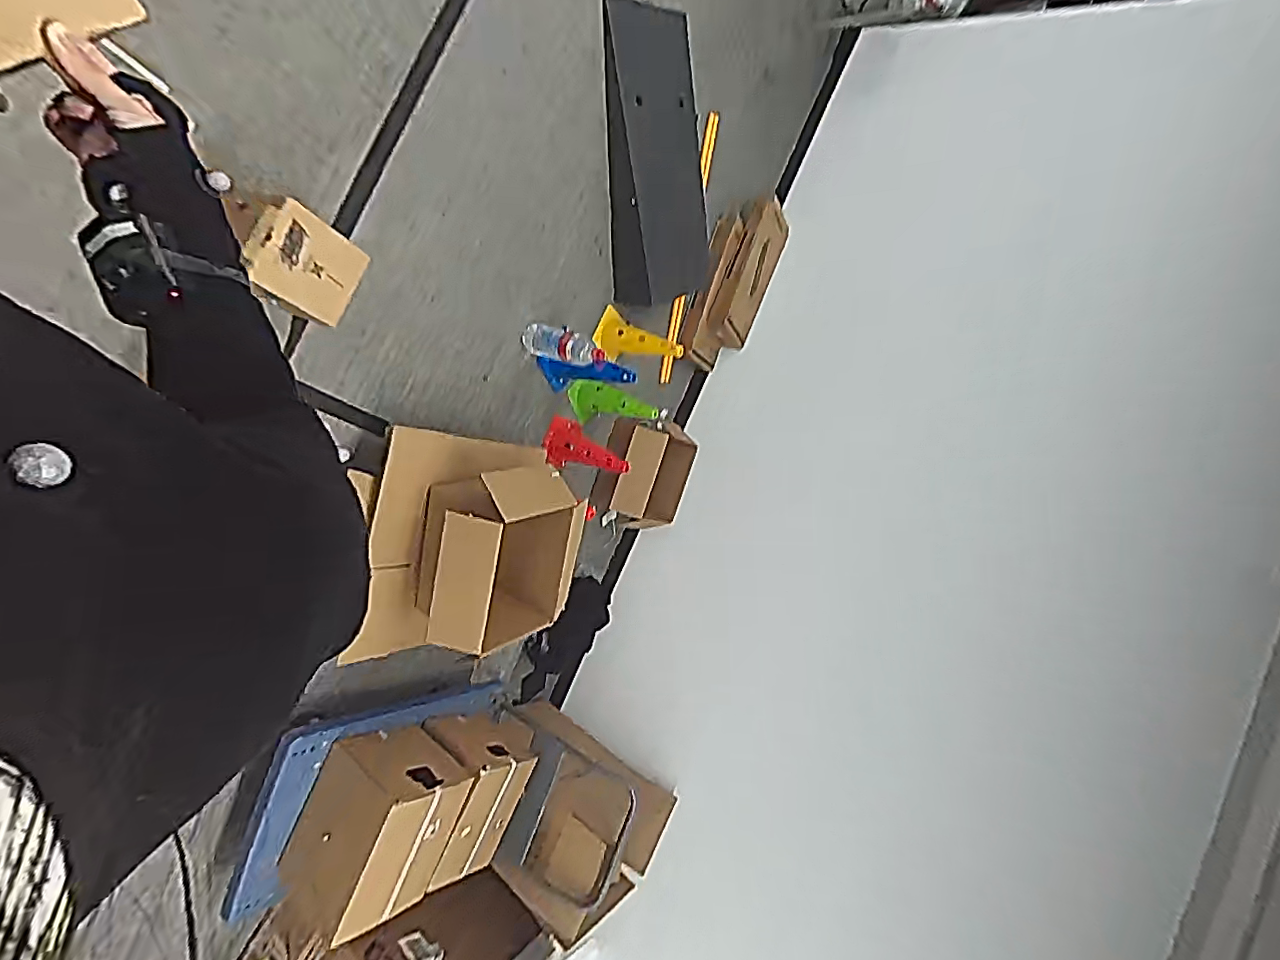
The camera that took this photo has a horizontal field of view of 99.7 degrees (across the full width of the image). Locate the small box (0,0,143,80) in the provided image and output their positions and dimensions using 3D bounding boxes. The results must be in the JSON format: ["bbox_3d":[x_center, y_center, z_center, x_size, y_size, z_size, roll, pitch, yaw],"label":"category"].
[{"bbox_3d":[-0.498,-0.352,0.342,0.179,0.176,0.168,-61,148,-29],"label":"small box"}]

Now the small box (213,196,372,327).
[{"bbox_3d":[-0.677,-0.426,1.054,0.168,0.176,0.179,-65,152,-5],"label":"small box"}]

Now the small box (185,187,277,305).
[{"bbox_3d":[-0.808,-0.484,1.136,0.168,0.176,0.179,28,83,-61],"label":"small box"}]
